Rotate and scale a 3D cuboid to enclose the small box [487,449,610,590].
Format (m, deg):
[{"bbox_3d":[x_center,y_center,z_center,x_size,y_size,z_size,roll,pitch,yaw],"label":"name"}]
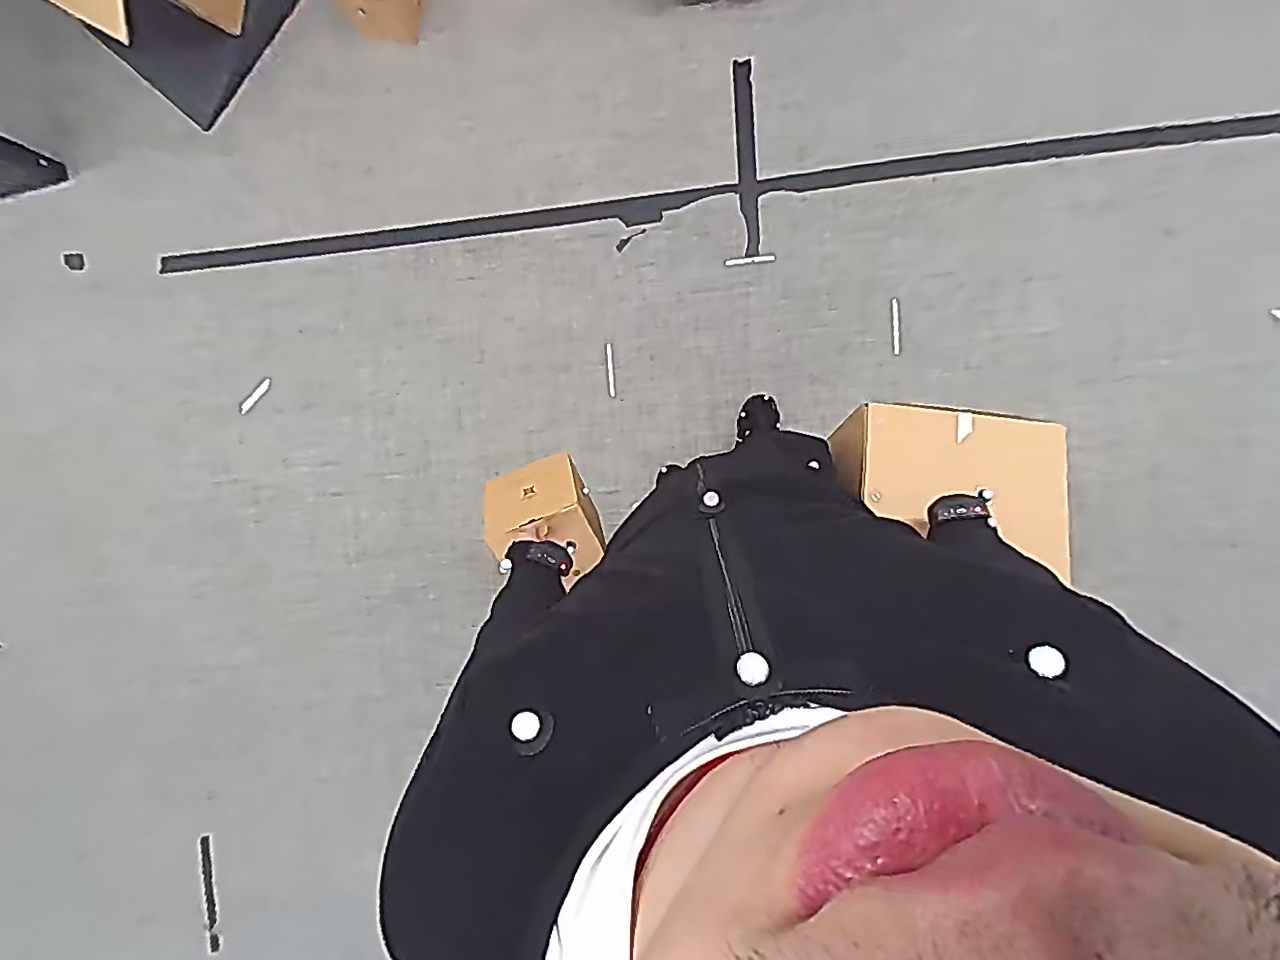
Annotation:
[{"bbox_3d":[-0.166,0.078,0.994,0.168,0.179,0.176,-21,126,1],"label":"small box"}]
